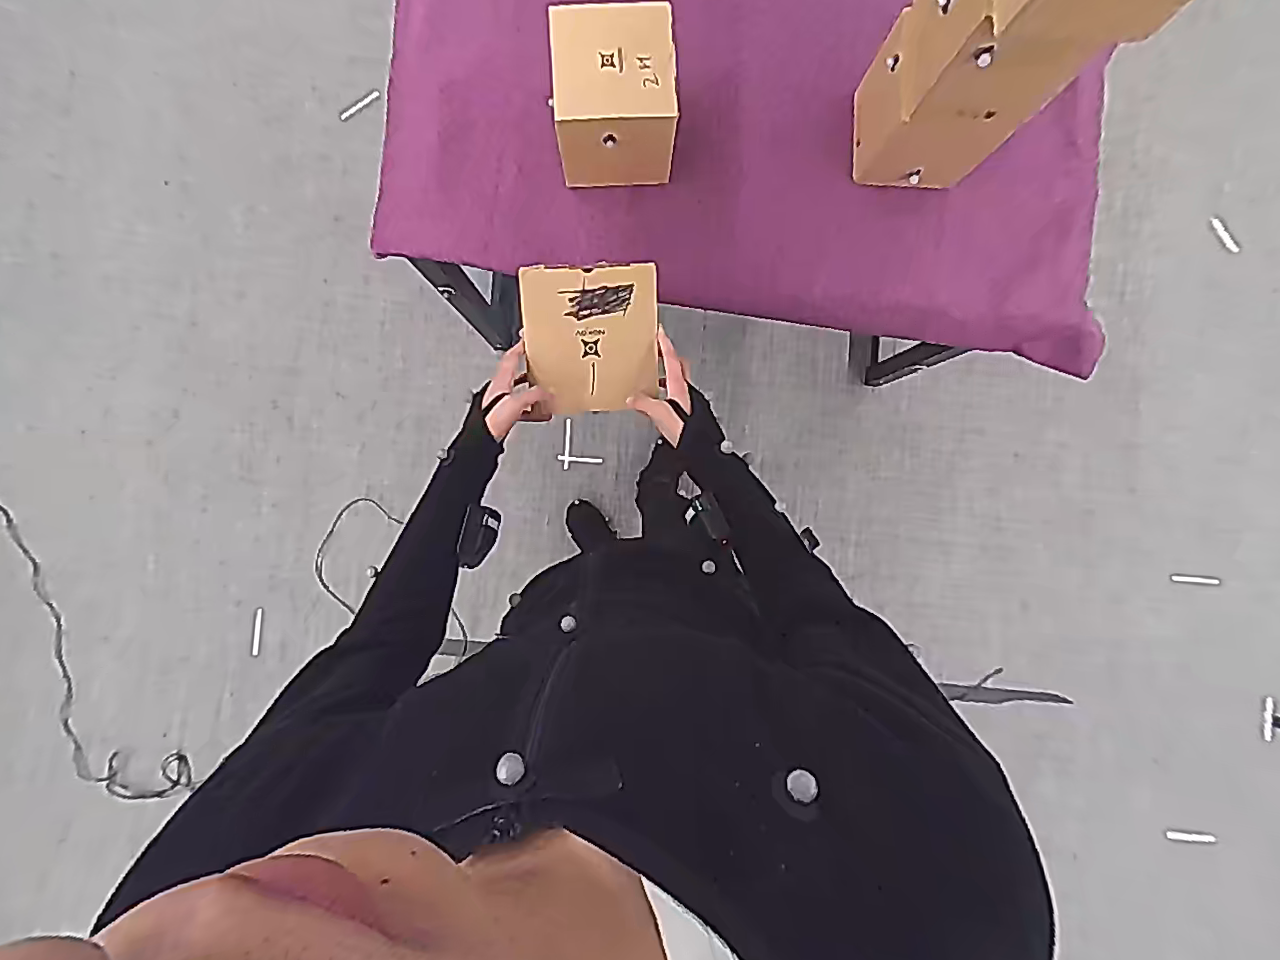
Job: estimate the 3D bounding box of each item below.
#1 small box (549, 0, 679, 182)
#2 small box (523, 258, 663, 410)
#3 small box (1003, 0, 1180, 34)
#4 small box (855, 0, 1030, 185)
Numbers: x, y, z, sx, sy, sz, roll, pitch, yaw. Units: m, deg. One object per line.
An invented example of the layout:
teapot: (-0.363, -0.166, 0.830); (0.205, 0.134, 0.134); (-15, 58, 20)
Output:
small box: (-0.037, -0.579, 0.823); (0.179, 0.176, 0.168); (-3, 89, -2)
small box: (-0.058, -0.193, 0.728); (0.168, 0.176, 0.179); (-2, 106, -1)
small box: (0.478, -0.568, 0.511); (0.179, 0.176, 0.168); (-1, 89, -2)
small box: (0.459, -0.585, 0.839); (0.179, 0.176, 0.168); (2, 89, -2)
